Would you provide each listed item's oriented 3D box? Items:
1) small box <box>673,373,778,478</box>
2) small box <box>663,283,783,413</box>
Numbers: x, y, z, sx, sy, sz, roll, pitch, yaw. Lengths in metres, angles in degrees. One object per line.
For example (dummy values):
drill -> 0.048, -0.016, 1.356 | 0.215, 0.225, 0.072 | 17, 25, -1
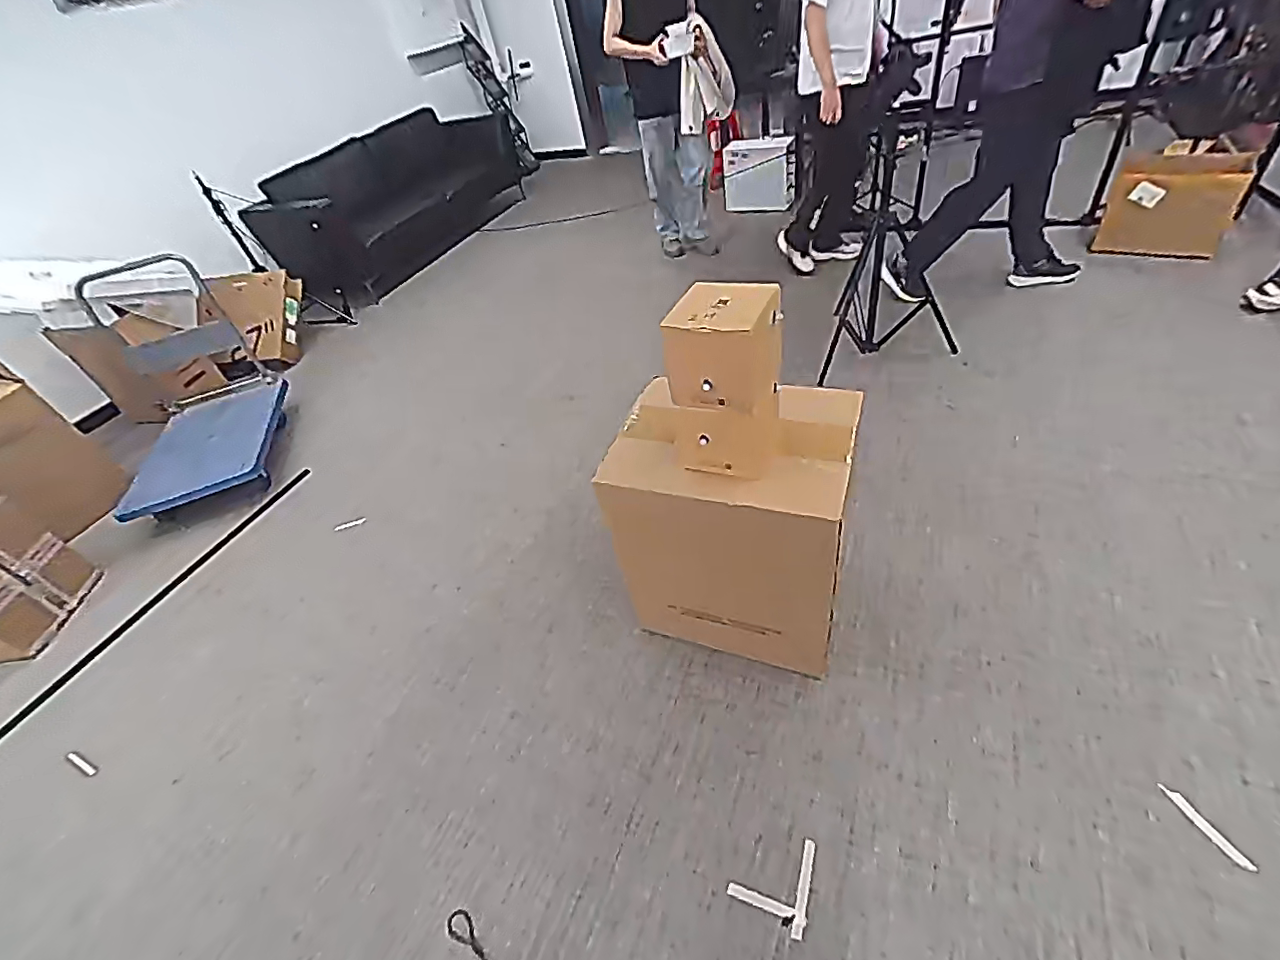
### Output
small box -> 0.185, -0.125, 1.114 | 0.168, 0.176, 0.179 | 10, 47, 25
small box -> 0.160, -0.249, 1.008 | 0.168, 0.176, 0.179 | 11, 47, 27
